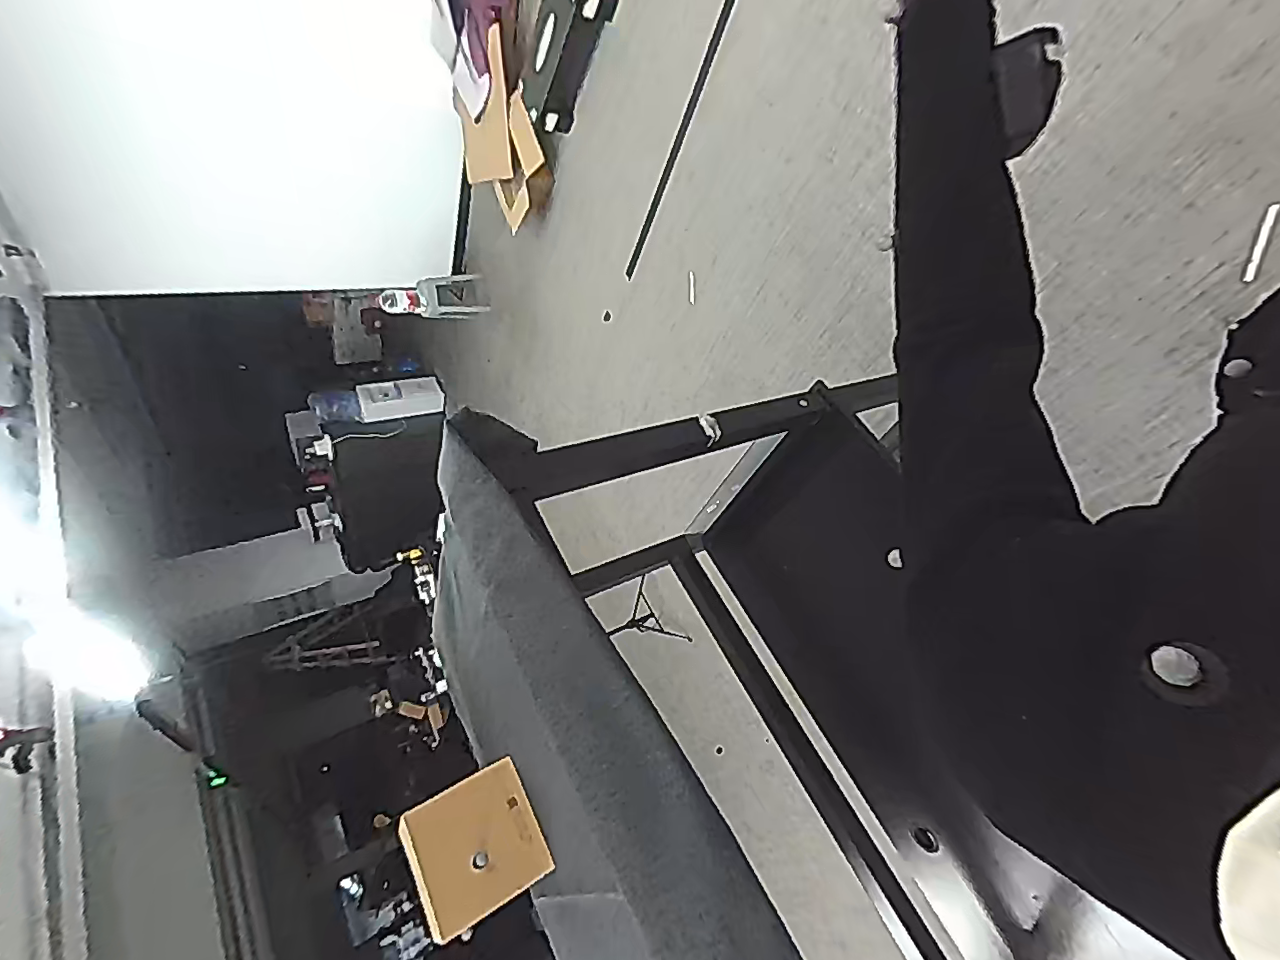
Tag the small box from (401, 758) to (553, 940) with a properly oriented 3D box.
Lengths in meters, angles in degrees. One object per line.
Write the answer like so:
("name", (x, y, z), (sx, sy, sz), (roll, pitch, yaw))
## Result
("small box", (-0.252, 0.560, 0.833), (0.168, 0.176, 0.179), (57, 143, 24))
